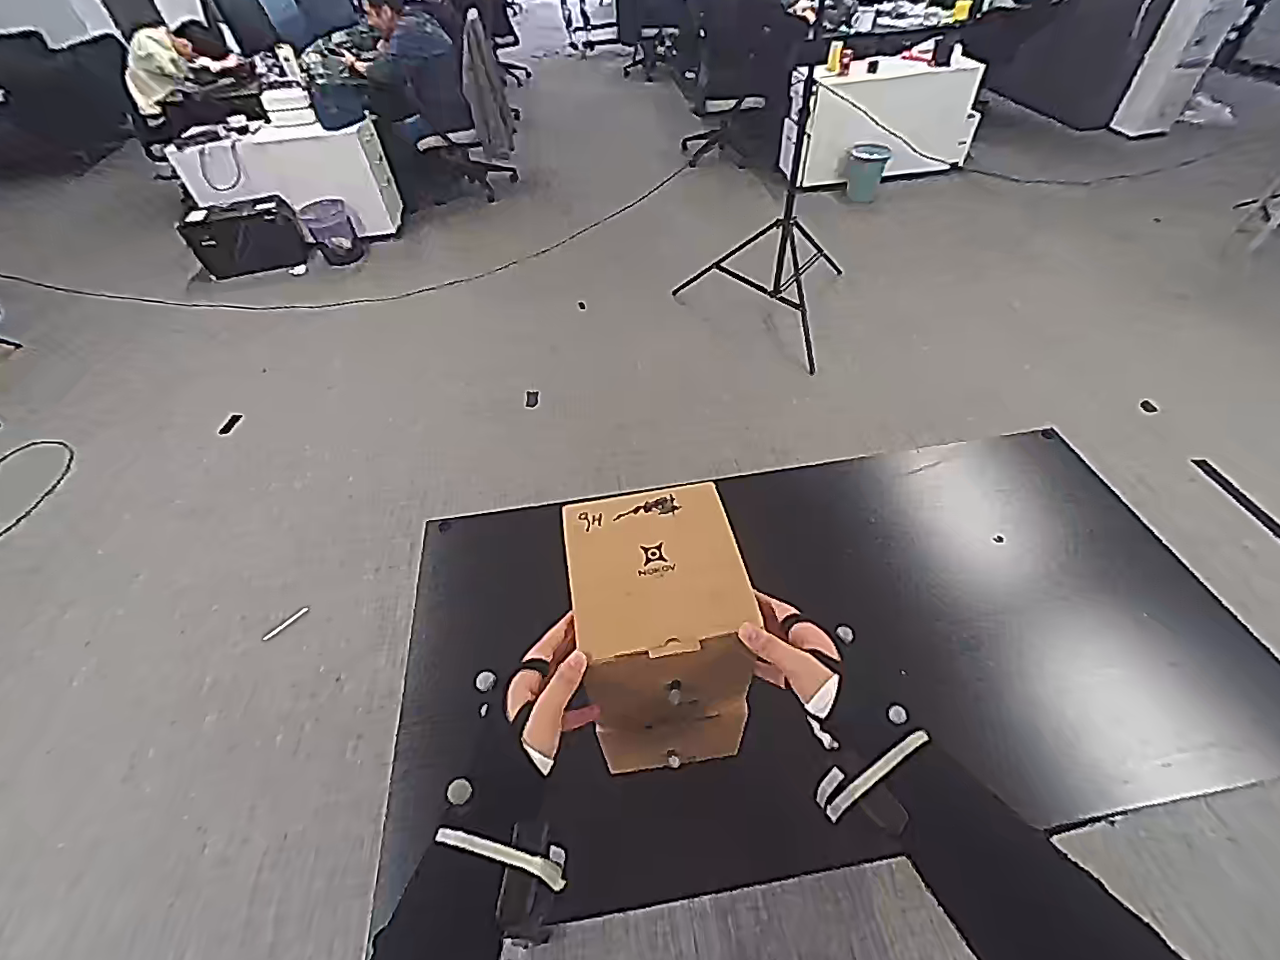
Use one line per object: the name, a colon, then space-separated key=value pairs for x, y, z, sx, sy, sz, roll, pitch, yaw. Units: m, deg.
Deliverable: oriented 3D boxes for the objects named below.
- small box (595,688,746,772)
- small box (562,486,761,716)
small box: x=0.028 y=0.248 z=0.693 sx=0.168 sy=0.176 sz=0.179 roll=-8 pitch=49 yaw=-2
small box: x=0.017 y=0.135 z=0.576 sx=0.168 sy=0.176 sz=0.179 roll=-10 pitch=50 yaw=-5
